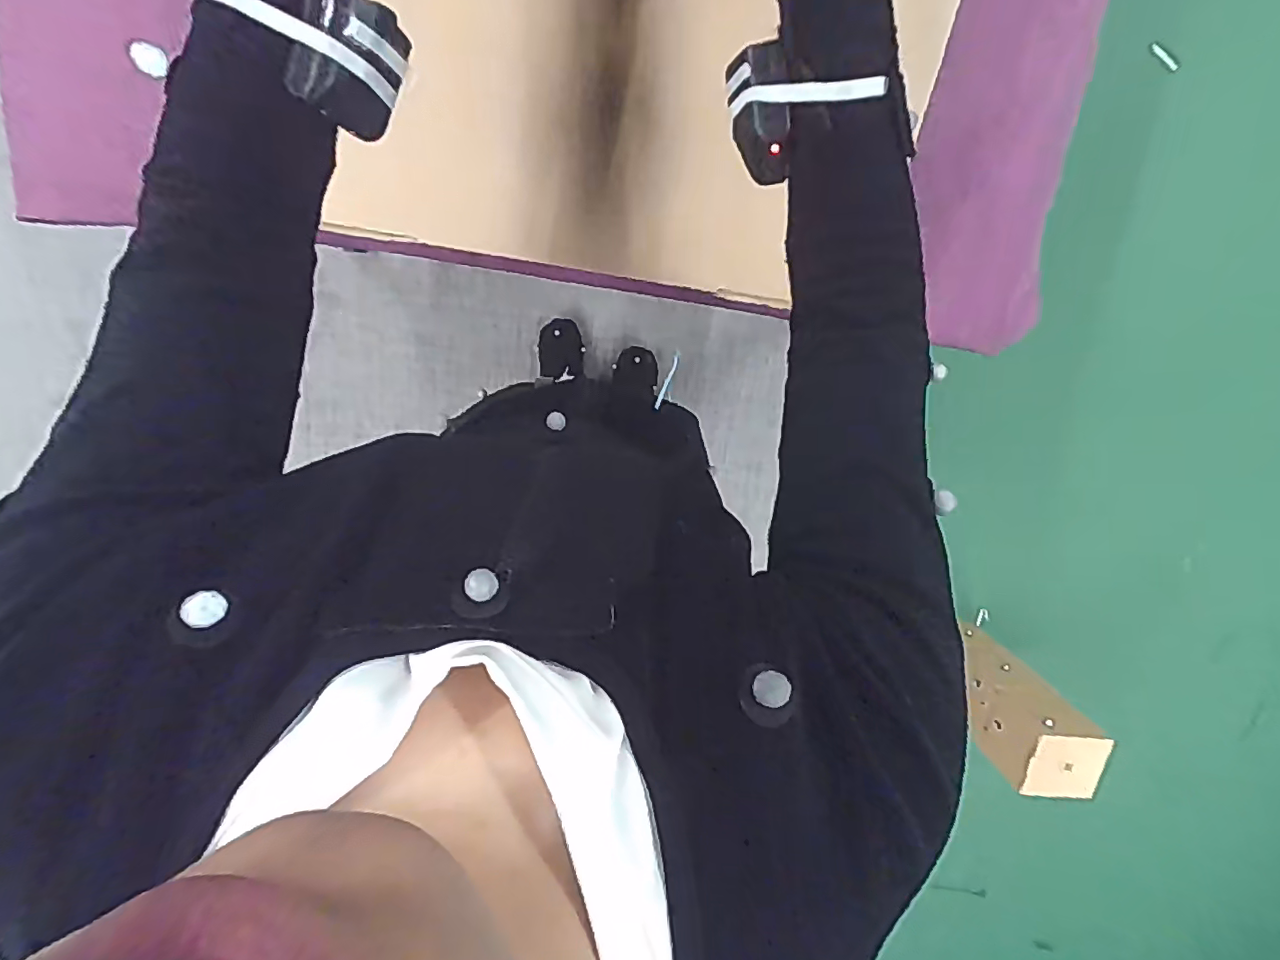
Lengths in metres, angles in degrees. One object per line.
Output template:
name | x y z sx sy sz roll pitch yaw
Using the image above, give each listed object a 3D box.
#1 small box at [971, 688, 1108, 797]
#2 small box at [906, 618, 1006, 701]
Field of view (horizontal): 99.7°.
small box | 0.941 0.620 1.291 0.179 0.176 0.168 5 106 -4
small box | 0.927 0.527 1.605 0.179 0.176 0.168 8 106 -5
